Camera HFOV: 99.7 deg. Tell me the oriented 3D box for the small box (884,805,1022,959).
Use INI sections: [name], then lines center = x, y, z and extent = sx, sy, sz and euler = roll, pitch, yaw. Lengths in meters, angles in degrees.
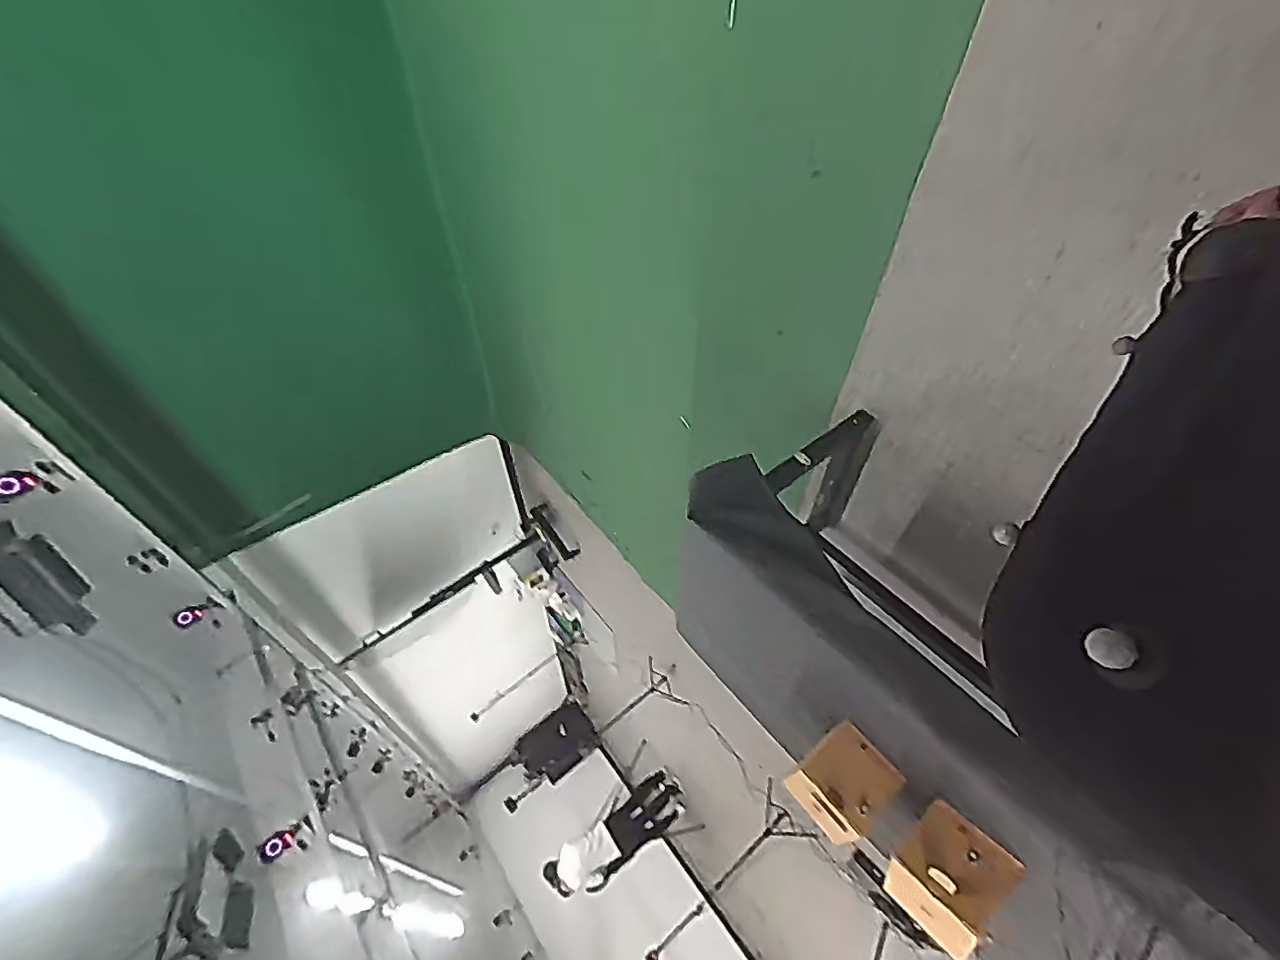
[small box]
center = 0.609, 0.791, 1.059
extent = 0.168, 0.176, 0.179
euler = 33, 144, 45
